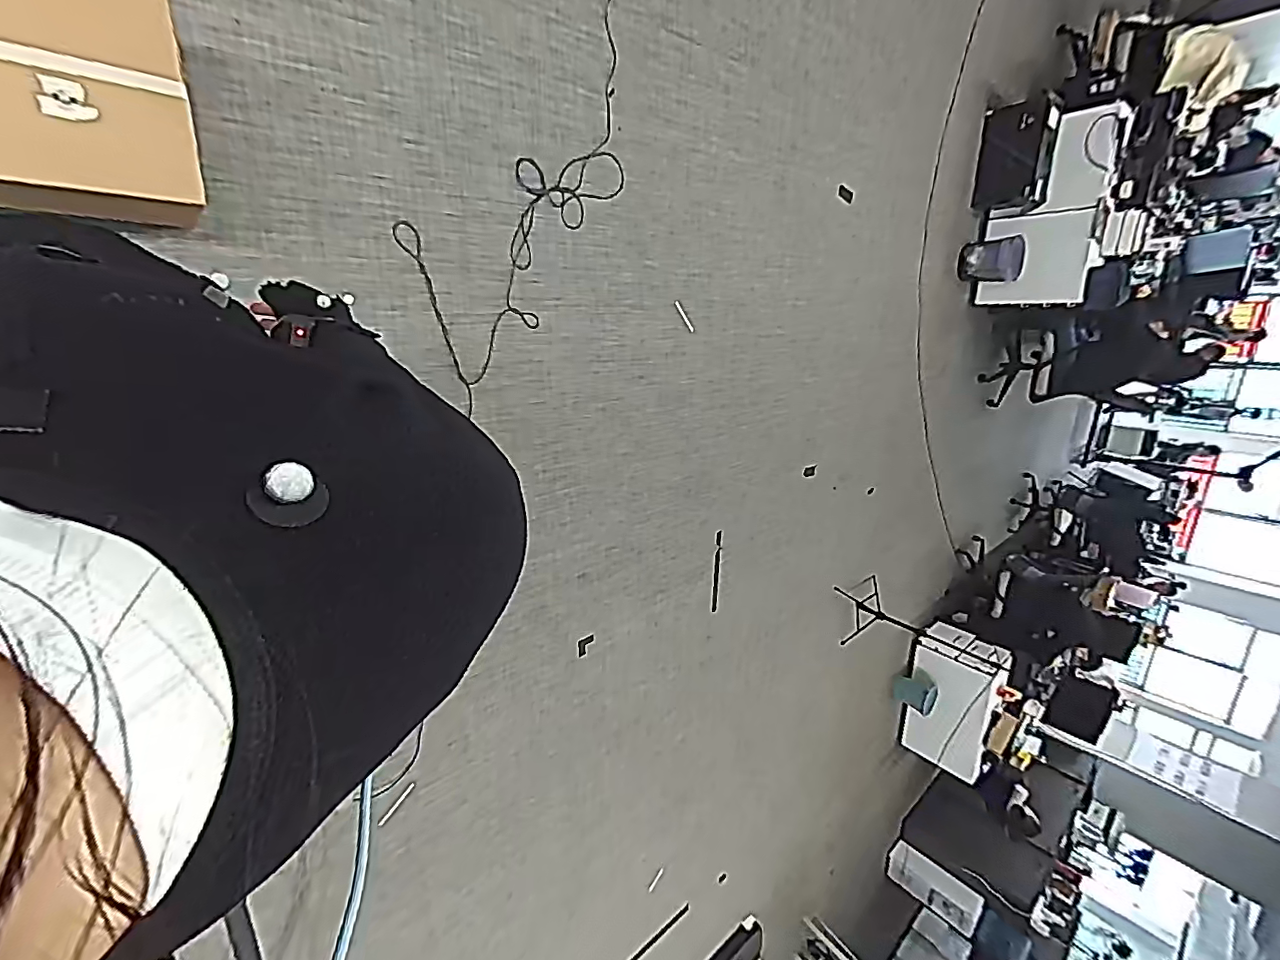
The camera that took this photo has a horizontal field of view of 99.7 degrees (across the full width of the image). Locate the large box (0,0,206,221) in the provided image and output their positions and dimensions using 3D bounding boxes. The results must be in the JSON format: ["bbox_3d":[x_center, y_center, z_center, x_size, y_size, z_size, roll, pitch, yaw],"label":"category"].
[{"bbox_3d":[-0.937,-0.593,0.800,0.408,0.320,0.320,-13,112,-40],"label":"large box"}]
